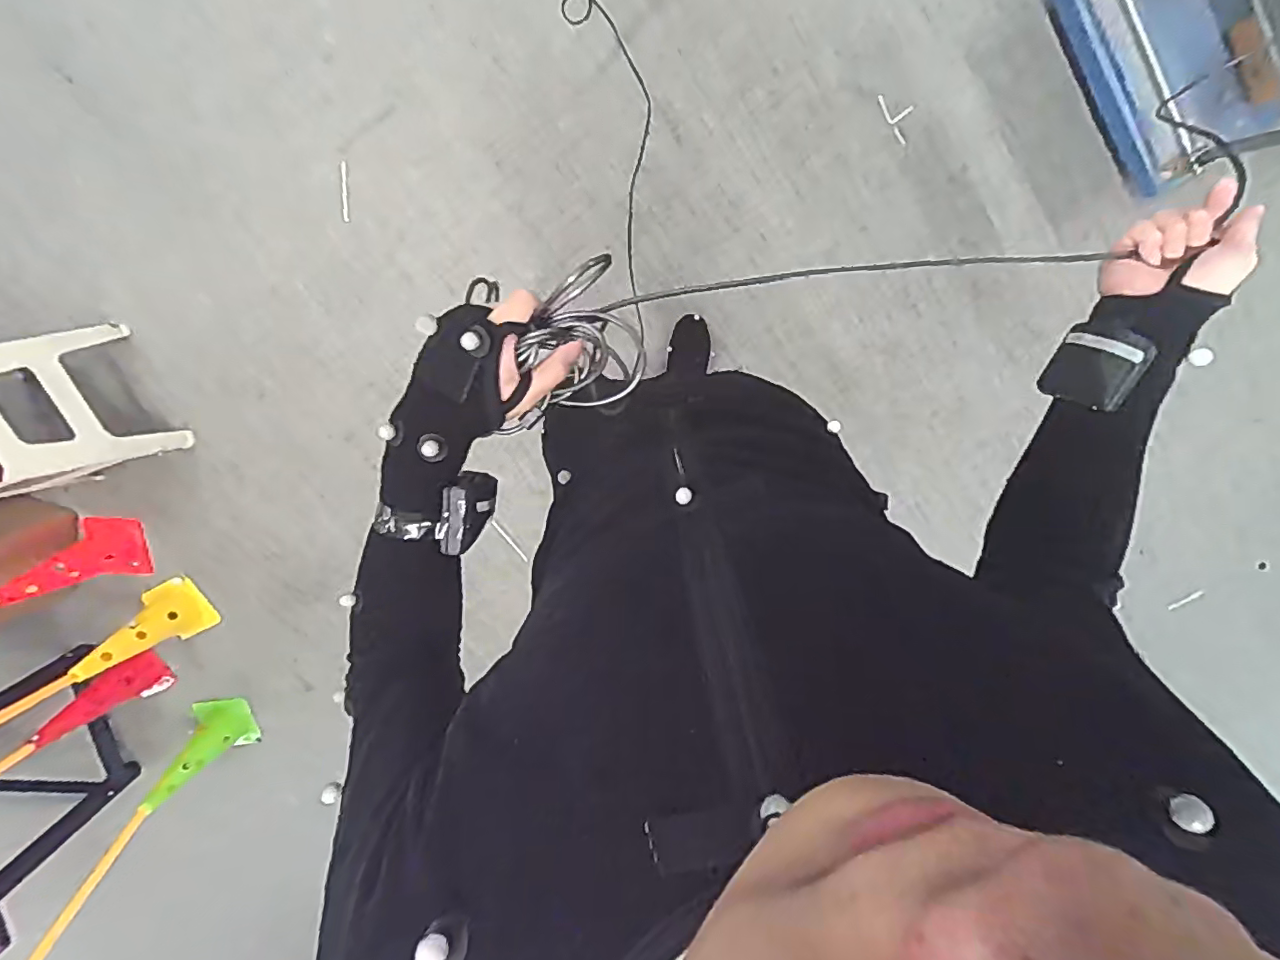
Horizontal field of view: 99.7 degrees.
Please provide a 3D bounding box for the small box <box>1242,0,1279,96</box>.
[{"bbox_3d":[1.333,-0.883,1.023,0.179,0.176,0.168,-35,103,13],"label":"small box"}]
